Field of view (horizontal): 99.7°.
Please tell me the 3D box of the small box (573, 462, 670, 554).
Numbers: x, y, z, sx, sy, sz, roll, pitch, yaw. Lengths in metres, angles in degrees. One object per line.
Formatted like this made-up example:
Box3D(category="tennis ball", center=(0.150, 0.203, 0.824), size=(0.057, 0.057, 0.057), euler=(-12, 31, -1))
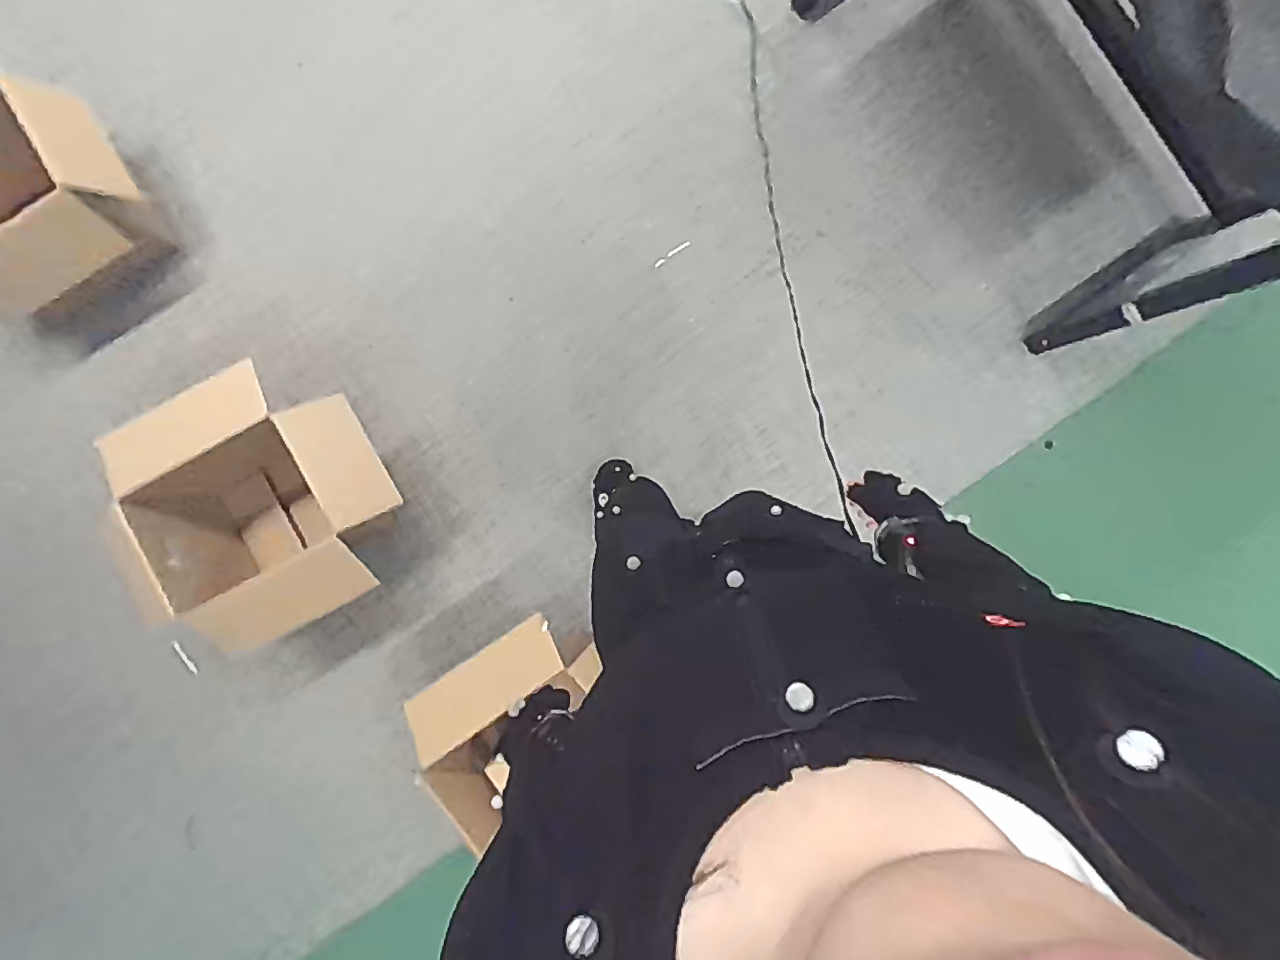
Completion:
Box3D(category="small box", center=(-0.053, 0.074, 1.408), size=(0.179, 0.176, 0.168), euler=(40, 96, 21))
